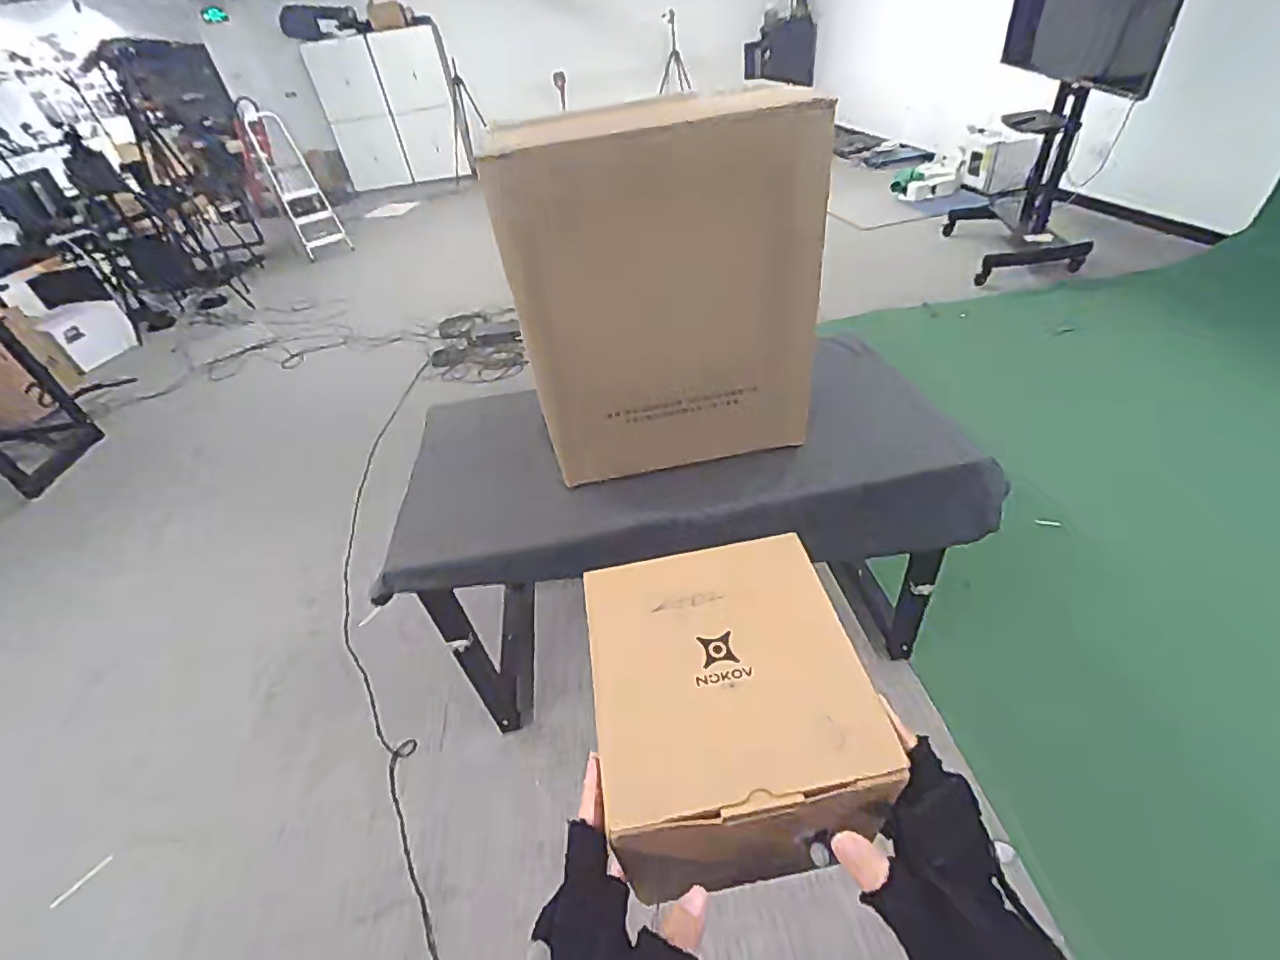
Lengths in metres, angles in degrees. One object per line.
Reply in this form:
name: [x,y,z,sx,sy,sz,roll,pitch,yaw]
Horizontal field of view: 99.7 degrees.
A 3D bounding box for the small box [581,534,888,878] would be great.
small box: [0.055,0.171,0.406,0.168,0.176,0.179,-10,41,-3]
